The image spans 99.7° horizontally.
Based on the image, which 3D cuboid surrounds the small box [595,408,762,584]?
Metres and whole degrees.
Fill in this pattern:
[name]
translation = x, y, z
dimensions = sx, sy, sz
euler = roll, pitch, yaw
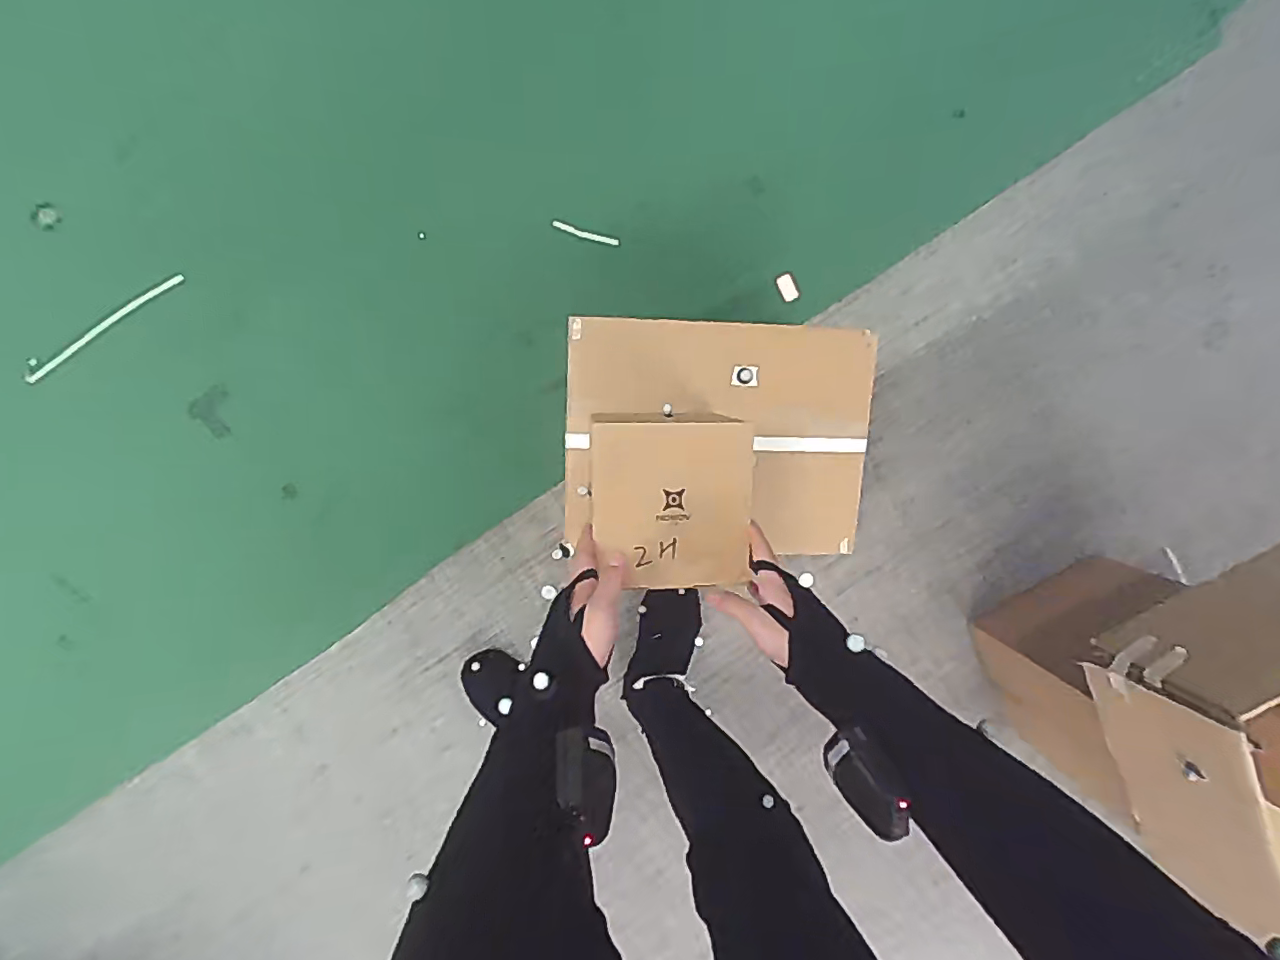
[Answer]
[small box]
translation = 0.033, 0.007, 0.624
dimensions = 0.168, 0.176, 0.179
euler = -1, 101, -5
